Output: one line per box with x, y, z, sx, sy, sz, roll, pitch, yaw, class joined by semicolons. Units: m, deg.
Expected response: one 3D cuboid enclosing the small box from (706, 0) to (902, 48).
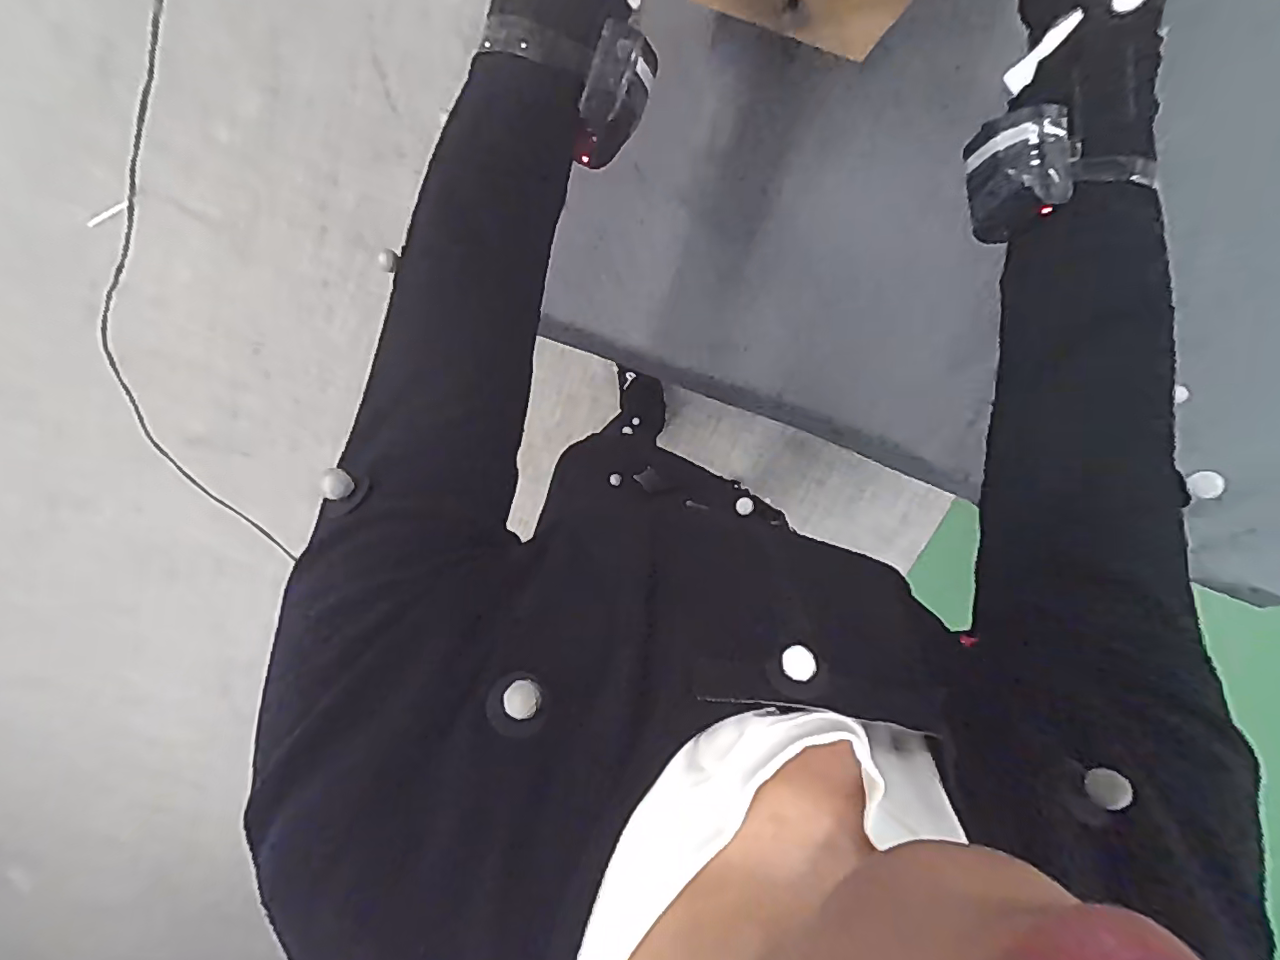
0.153;-0.481;0.413;0.179;0.176;0.168;15;102;-7;small box
